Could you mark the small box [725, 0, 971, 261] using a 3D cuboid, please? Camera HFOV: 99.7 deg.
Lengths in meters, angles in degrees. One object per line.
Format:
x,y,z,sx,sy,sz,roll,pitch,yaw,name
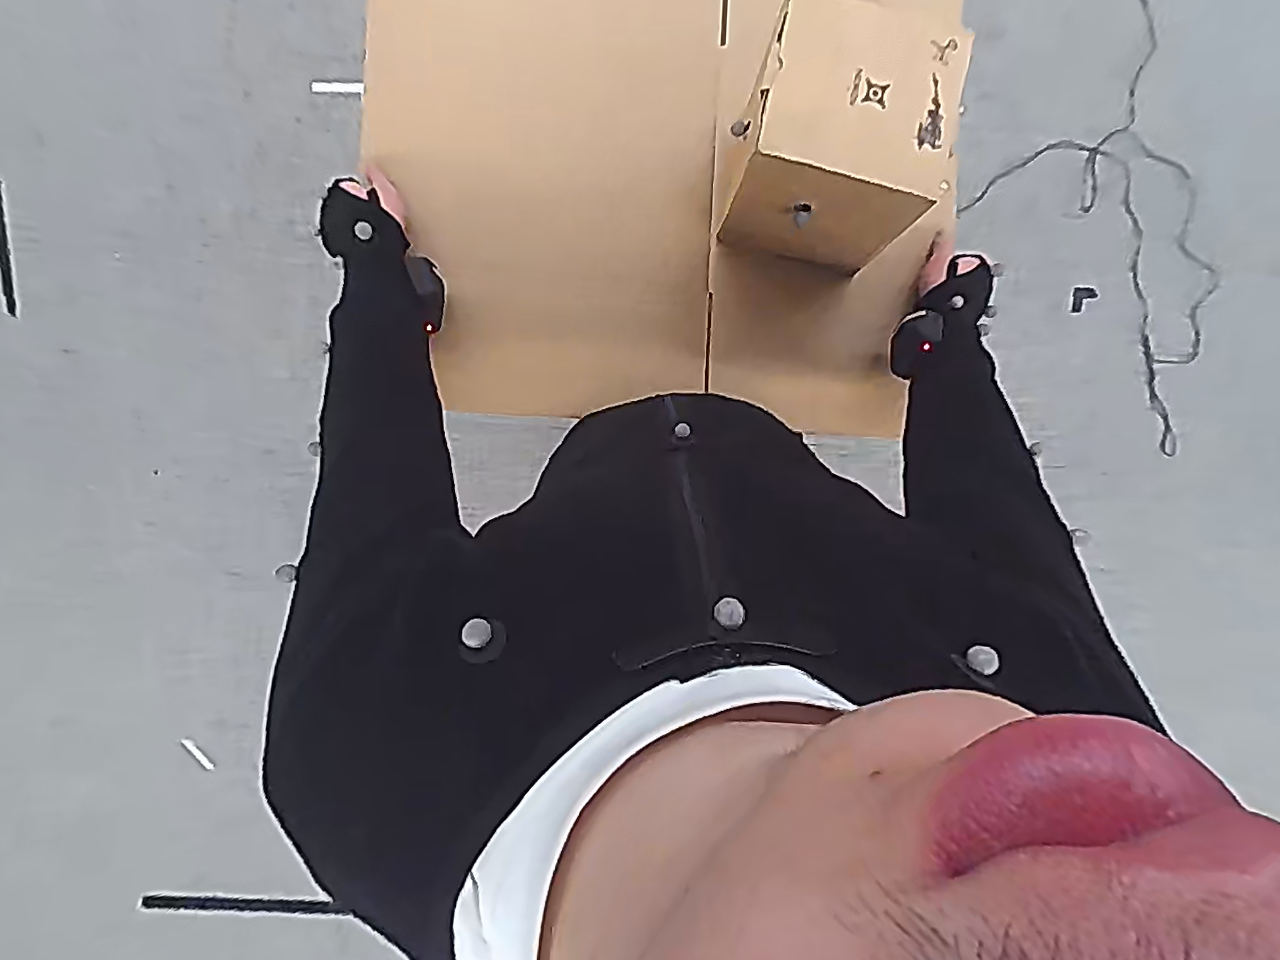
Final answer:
0.200,-0.356,0.571,0.179,0.176,0.168,13,89,-2,small box
